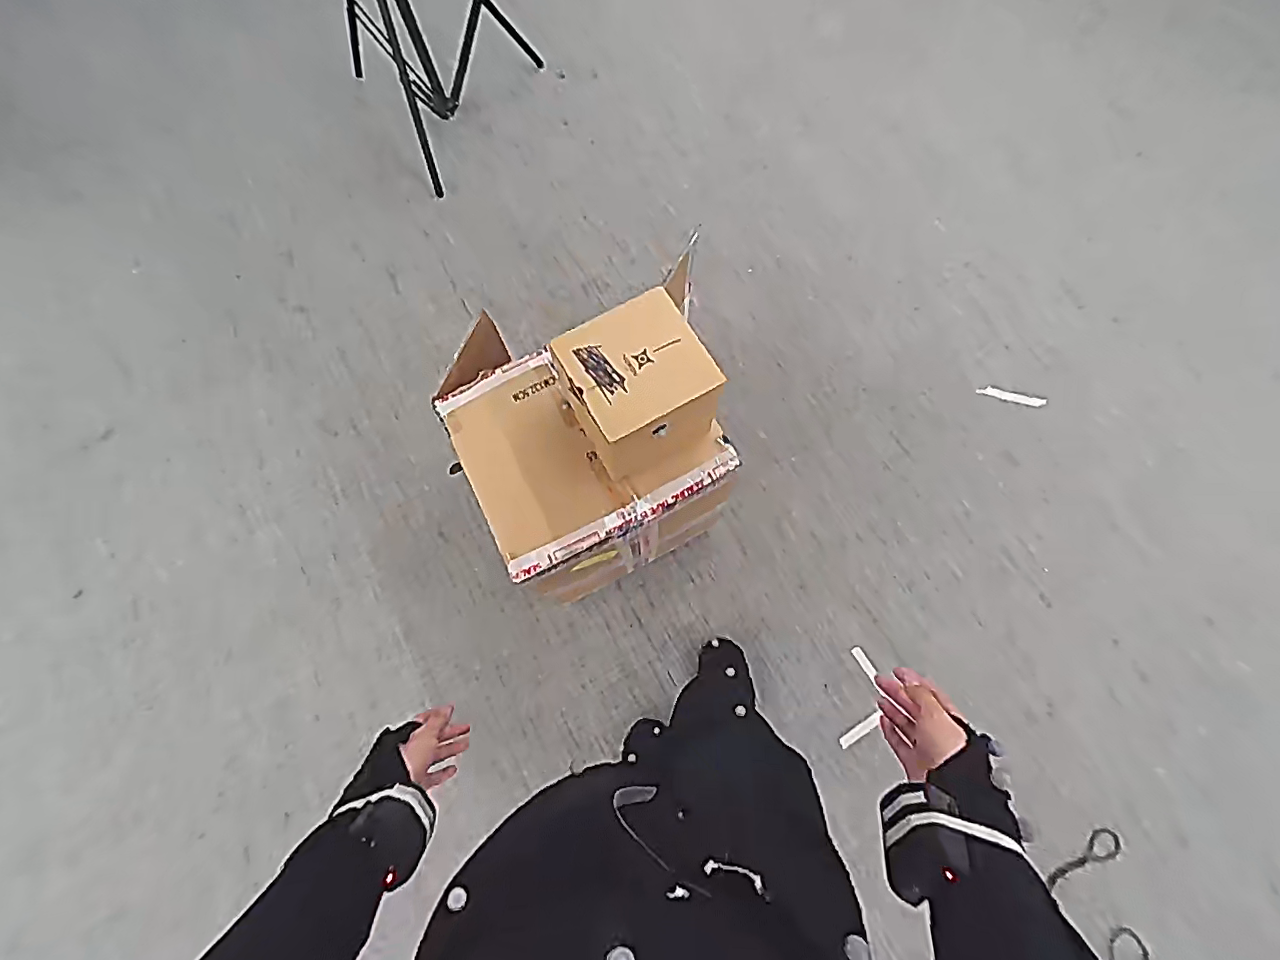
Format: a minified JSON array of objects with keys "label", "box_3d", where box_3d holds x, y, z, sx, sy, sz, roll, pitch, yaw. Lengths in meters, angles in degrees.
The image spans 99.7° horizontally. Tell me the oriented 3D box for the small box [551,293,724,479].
[{"label":"small box","box_3d":[-0.004,-0.124,0.777,0.179,0.176,0.168,-29,76,-9]}]
